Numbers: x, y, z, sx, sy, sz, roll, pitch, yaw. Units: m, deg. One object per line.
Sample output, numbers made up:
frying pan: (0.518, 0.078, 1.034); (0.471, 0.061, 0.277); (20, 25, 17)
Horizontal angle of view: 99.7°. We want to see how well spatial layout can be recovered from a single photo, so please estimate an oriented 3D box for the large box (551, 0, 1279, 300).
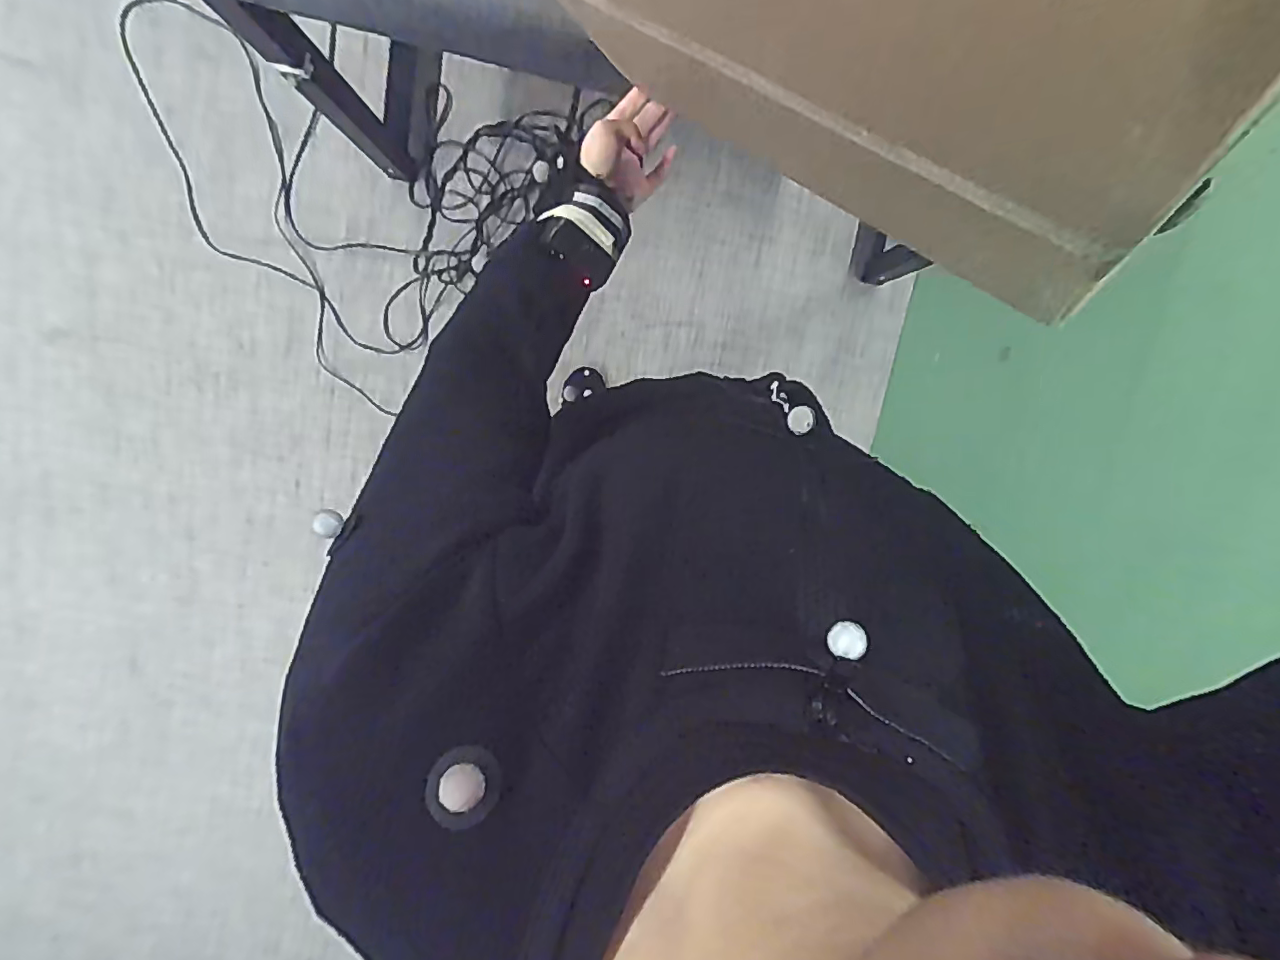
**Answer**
large box: (0.144, -0.341, 0.247); (0.408, 0.320, 0.320); (41, 110, 21)
